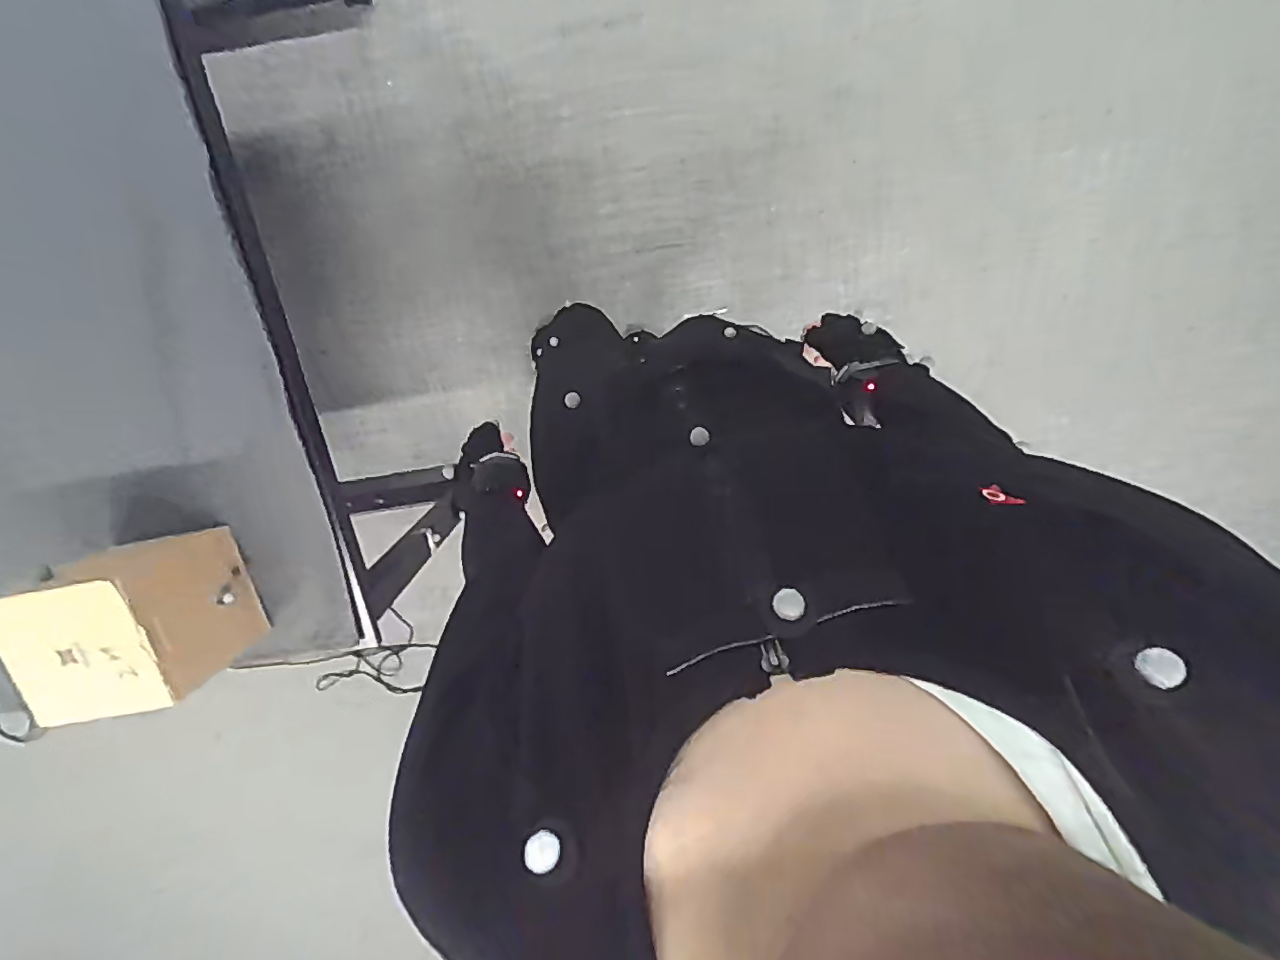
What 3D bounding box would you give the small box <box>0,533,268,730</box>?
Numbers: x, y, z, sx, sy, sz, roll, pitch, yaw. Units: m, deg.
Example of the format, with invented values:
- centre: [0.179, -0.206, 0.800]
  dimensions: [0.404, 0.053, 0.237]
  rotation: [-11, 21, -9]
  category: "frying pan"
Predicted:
- centre: [-0.627, 0.180, 0.681]
  dimensions: [0.179, 0.176, 0.168]
  rotation: [-10, 105, 4]
  category: "small box"
